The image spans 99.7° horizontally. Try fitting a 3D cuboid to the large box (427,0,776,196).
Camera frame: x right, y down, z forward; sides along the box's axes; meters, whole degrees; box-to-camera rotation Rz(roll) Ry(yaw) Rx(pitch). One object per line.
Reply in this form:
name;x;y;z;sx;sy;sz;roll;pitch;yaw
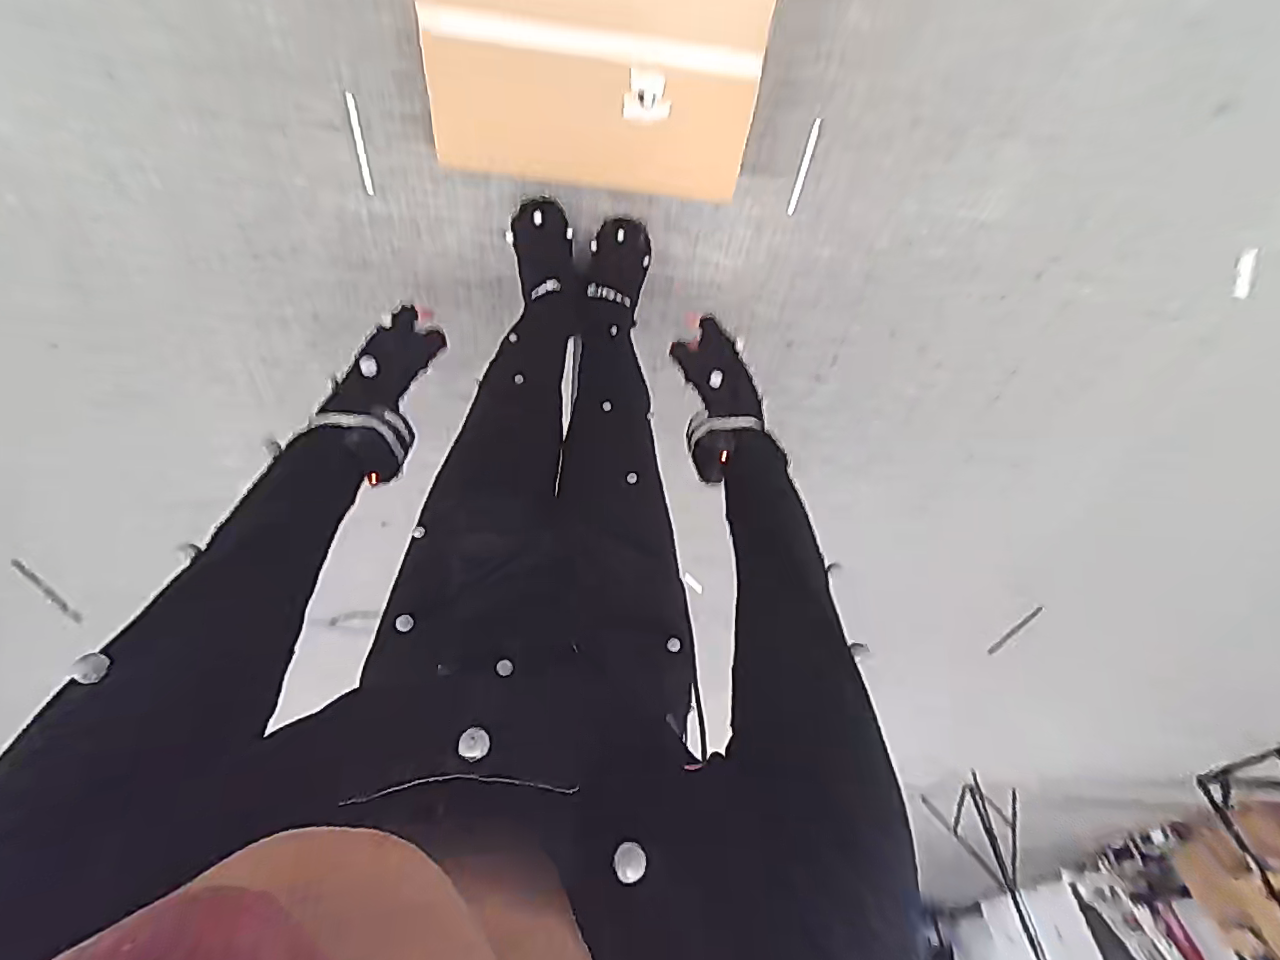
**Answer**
large box;-0.054;-0.623;0.748;0.408;0.320;0.320;3;136;-6
